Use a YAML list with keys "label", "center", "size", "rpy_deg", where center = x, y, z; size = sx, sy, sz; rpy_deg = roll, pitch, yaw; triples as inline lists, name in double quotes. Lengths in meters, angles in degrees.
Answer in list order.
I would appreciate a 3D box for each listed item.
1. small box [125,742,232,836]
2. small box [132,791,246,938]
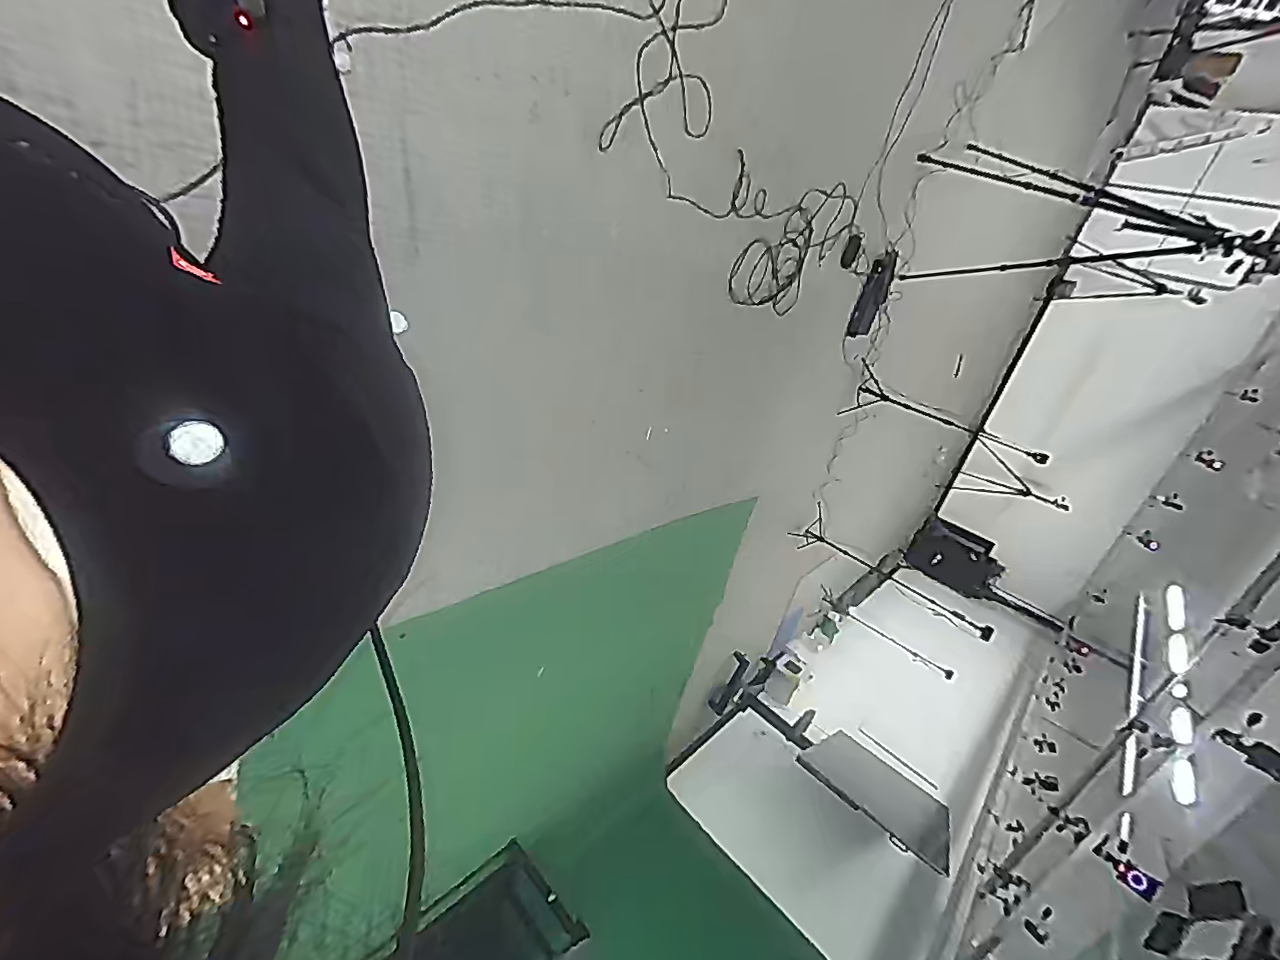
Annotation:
- label: "small box"
  center: [-1.134, 0.792, 1.334]
  size: [0.179, 0.176, 0.168]
  rpy_deg: [-11, 124, -45]
- label: "small box"
  center: [-1.027, 0.865, 1.231]
  size: [0.179, 0.176, 0.168]
  rpy_deg: [-12, 126, -46]
